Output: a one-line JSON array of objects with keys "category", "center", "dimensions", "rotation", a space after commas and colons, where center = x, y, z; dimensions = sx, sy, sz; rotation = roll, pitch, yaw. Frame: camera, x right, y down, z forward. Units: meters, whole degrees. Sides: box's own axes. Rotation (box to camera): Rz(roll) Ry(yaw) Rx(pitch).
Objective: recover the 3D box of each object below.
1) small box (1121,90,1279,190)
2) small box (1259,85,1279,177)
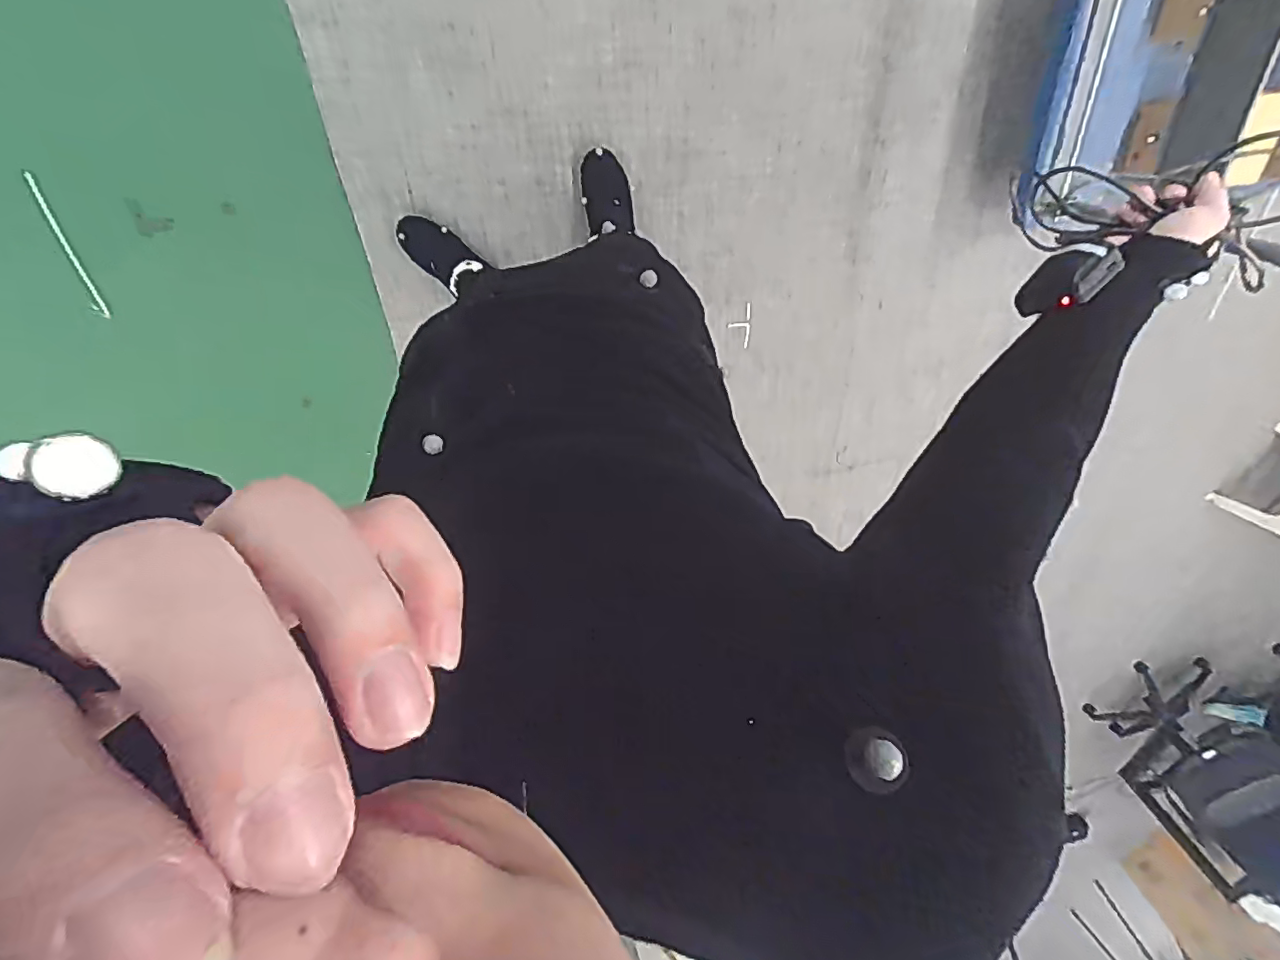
[{"category": "small box", "center": [1.221, -0.739, 1.173], "dimensions": [0.179, 0.176, 0.168], "rotation": [-8, 124, -2]}, {"category": "small box", "center": [1.463, -0.773, 1.179], "dimensions": [0.179, 0.176, 0.168], "rotation": [-10, 124, 0]}]
